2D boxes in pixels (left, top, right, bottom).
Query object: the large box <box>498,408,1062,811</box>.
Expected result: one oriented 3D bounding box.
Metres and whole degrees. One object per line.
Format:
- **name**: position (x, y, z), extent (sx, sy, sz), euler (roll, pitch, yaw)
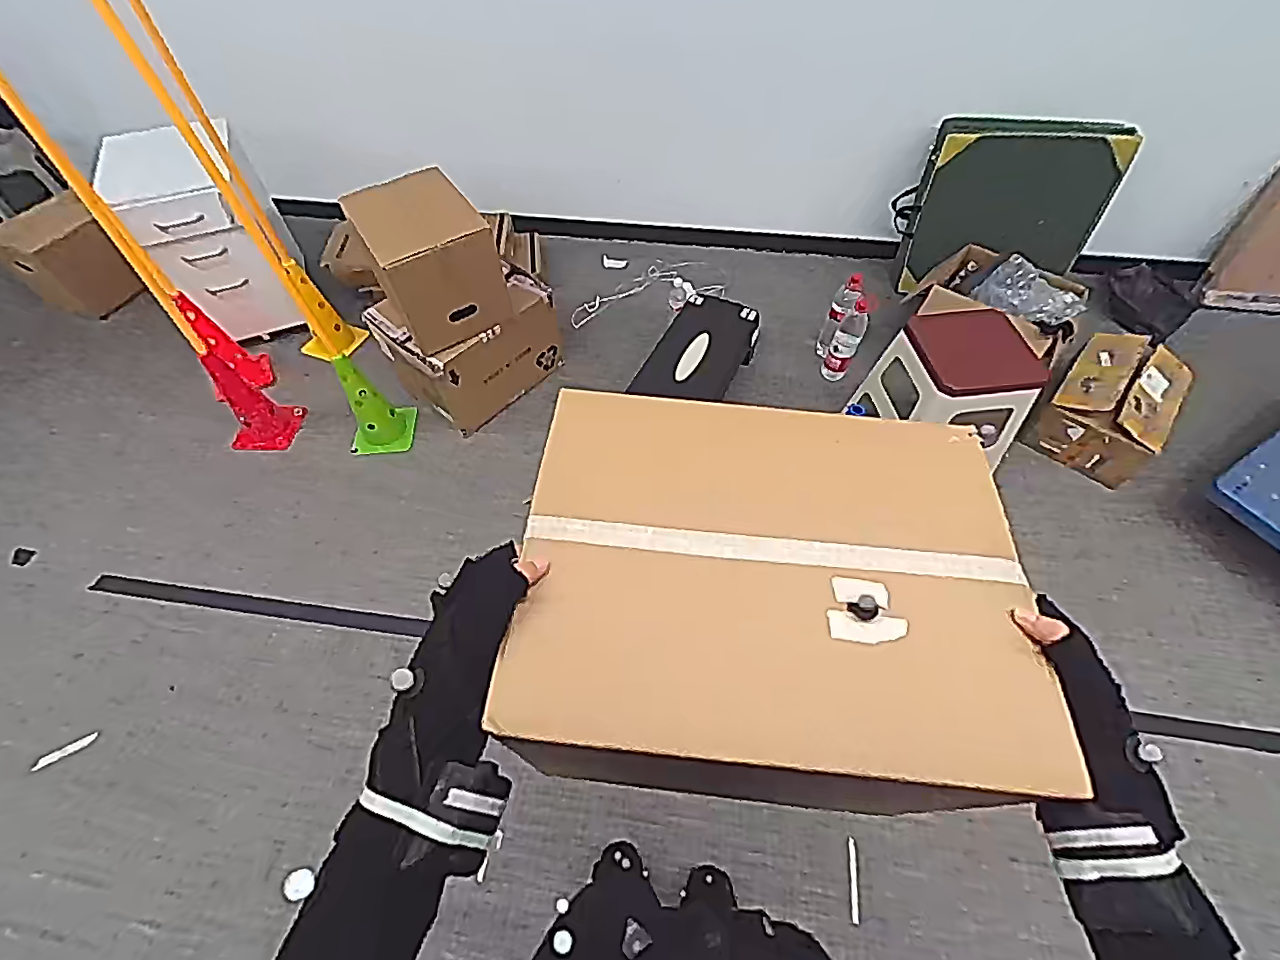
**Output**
- **large box**: position (0.101, 0.151, 0.580), extent (0.408, 0.320, 0.320), euler (5, 56, 1)
